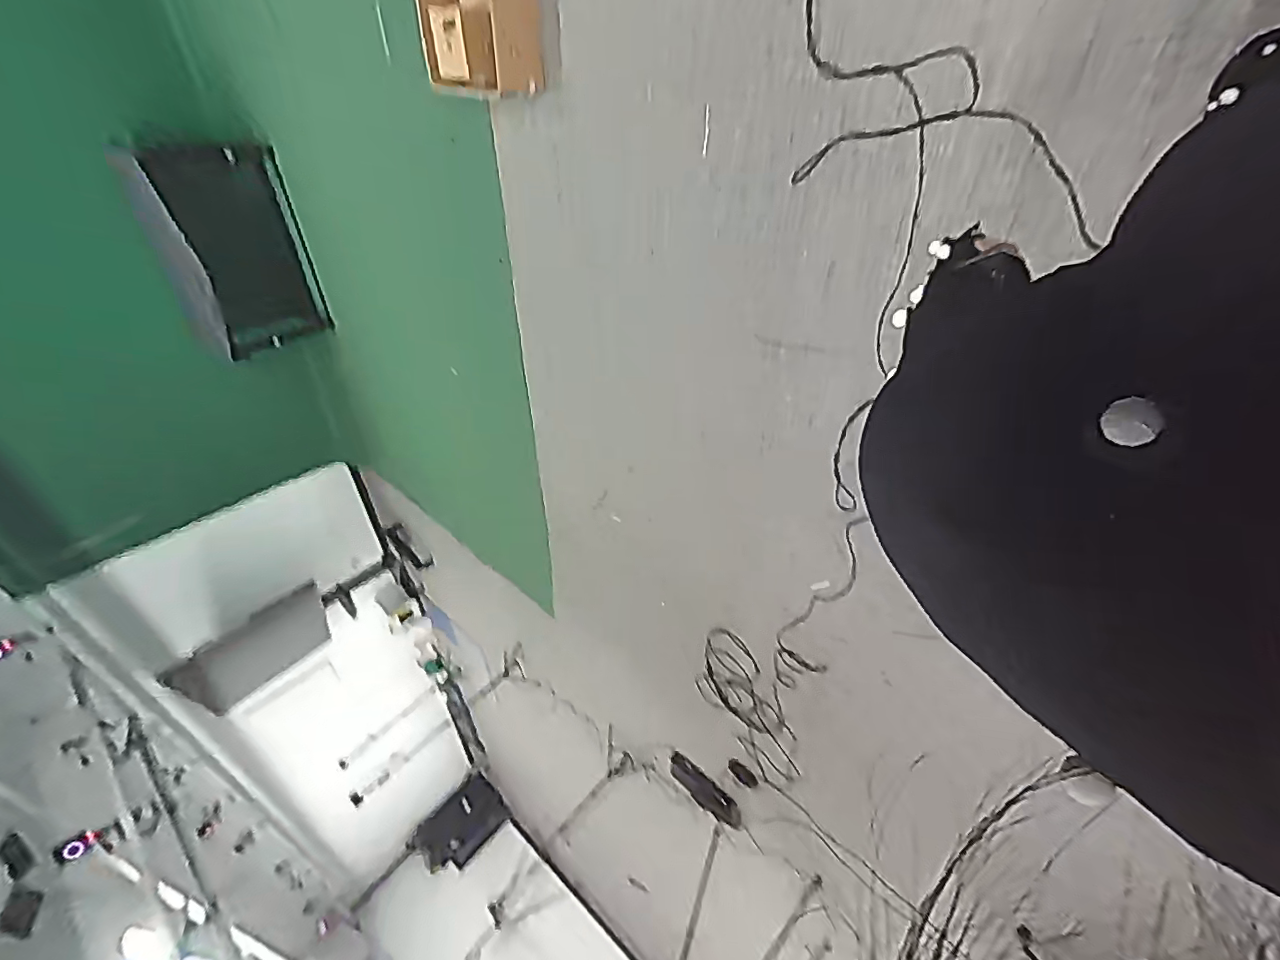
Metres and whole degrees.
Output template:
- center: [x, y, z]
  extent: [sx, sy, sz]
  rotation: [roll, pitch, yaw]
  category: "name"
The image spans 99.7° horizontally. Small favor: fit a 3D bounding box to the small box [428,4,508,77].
- center: [-0.553, -1.424, 1.756]
  extent: [0.168, 0.176, 0.179]
  rotation: [28, 136, 29]
  category: "small box"
